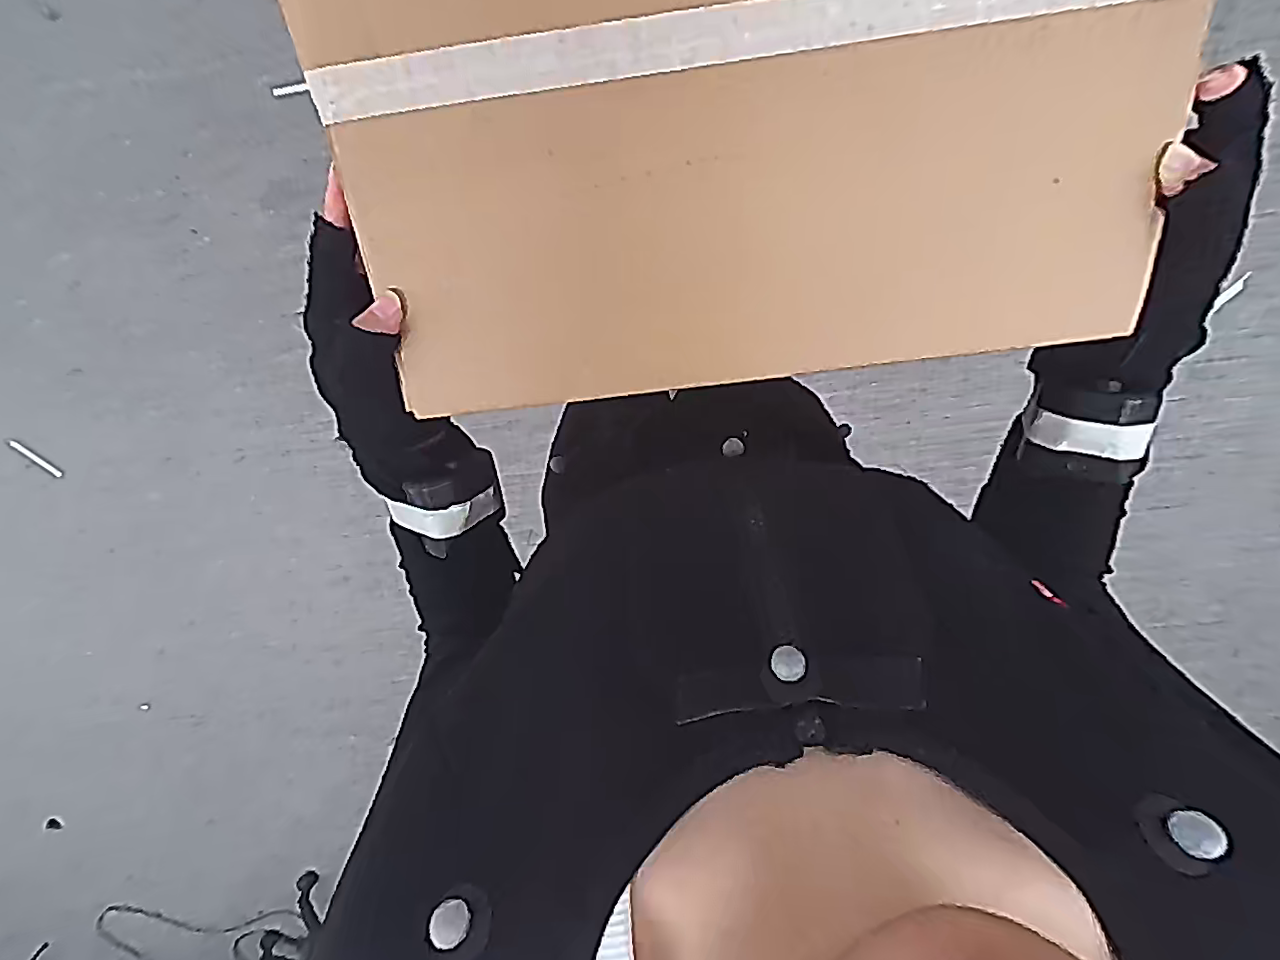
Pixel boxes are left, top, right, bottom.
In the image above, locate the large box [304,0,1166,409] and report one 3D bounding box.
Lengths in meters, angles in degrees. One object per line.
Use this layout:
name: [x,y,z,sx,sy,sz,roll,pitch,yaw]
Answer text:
large box: [0.043,-0.263,0.395,0.408,0.320,0.320,-7,114,2]
